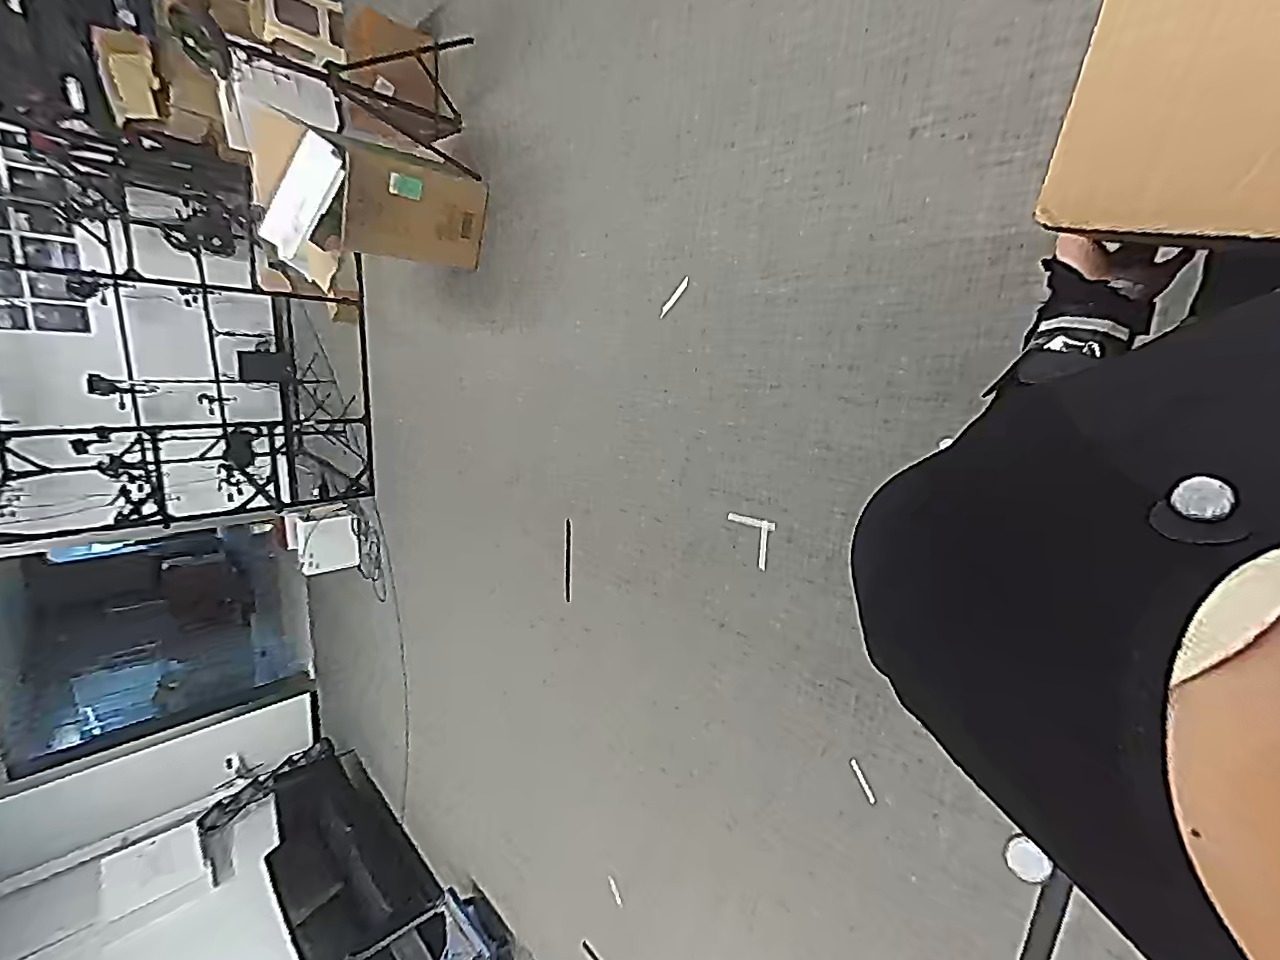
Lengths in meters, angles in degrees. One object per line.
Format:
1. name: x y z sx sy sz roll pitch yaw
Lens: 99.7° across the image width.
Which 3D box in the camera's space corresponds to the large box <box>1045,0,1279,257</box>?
1. large box: 0.493 -0.264 0.240 0.408 0.320 0.320 26 123 39
